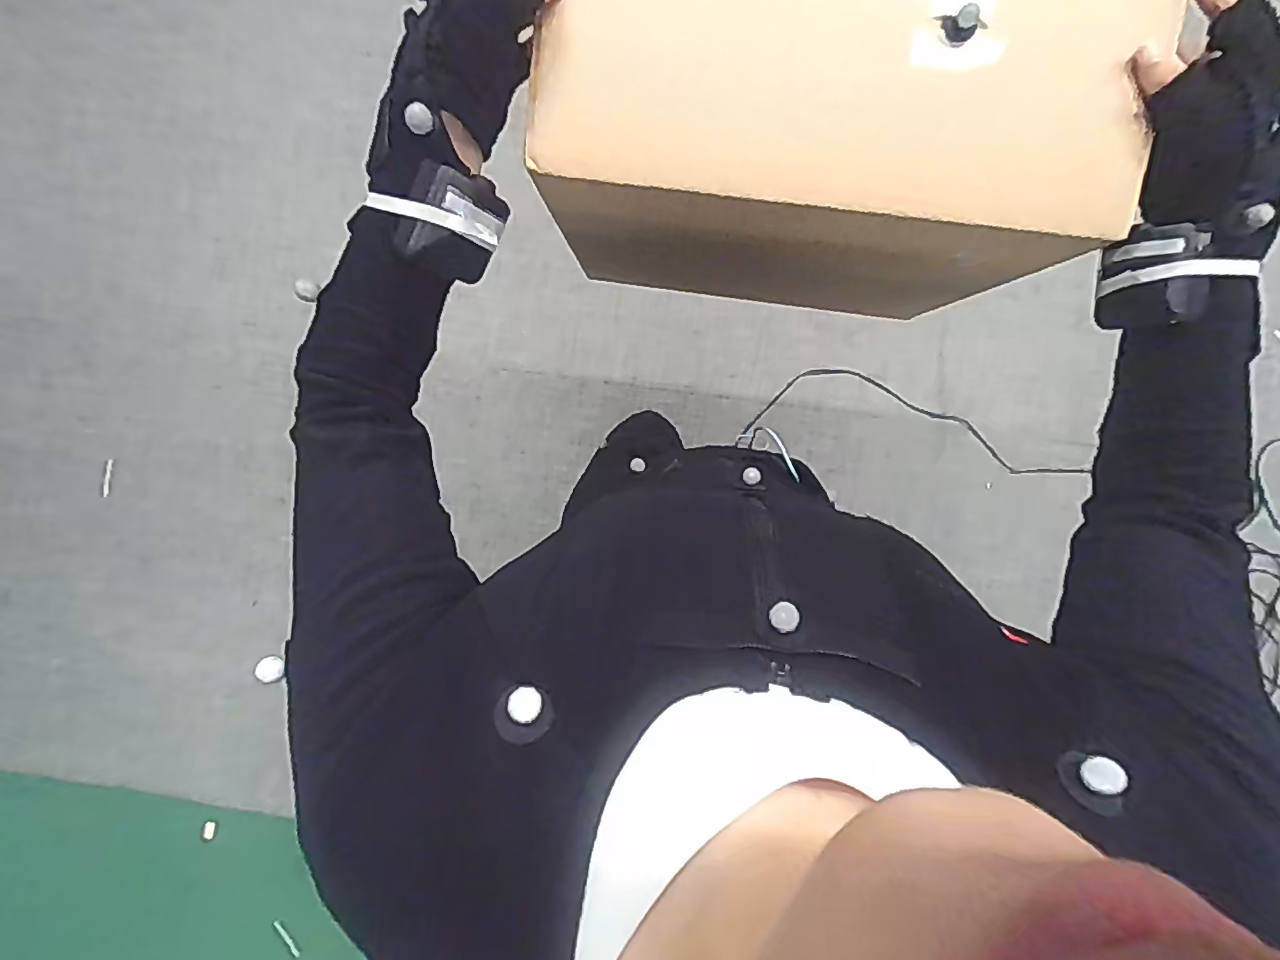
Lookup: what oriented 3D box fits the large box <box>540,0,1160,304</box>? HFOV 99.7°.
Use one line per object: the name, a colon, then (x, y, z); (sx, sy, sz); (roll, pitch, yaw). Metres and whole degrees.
large box: (0.144, -0.365, 0.501); (0.408, 0.320, 0.320); (7, 98, 1)
